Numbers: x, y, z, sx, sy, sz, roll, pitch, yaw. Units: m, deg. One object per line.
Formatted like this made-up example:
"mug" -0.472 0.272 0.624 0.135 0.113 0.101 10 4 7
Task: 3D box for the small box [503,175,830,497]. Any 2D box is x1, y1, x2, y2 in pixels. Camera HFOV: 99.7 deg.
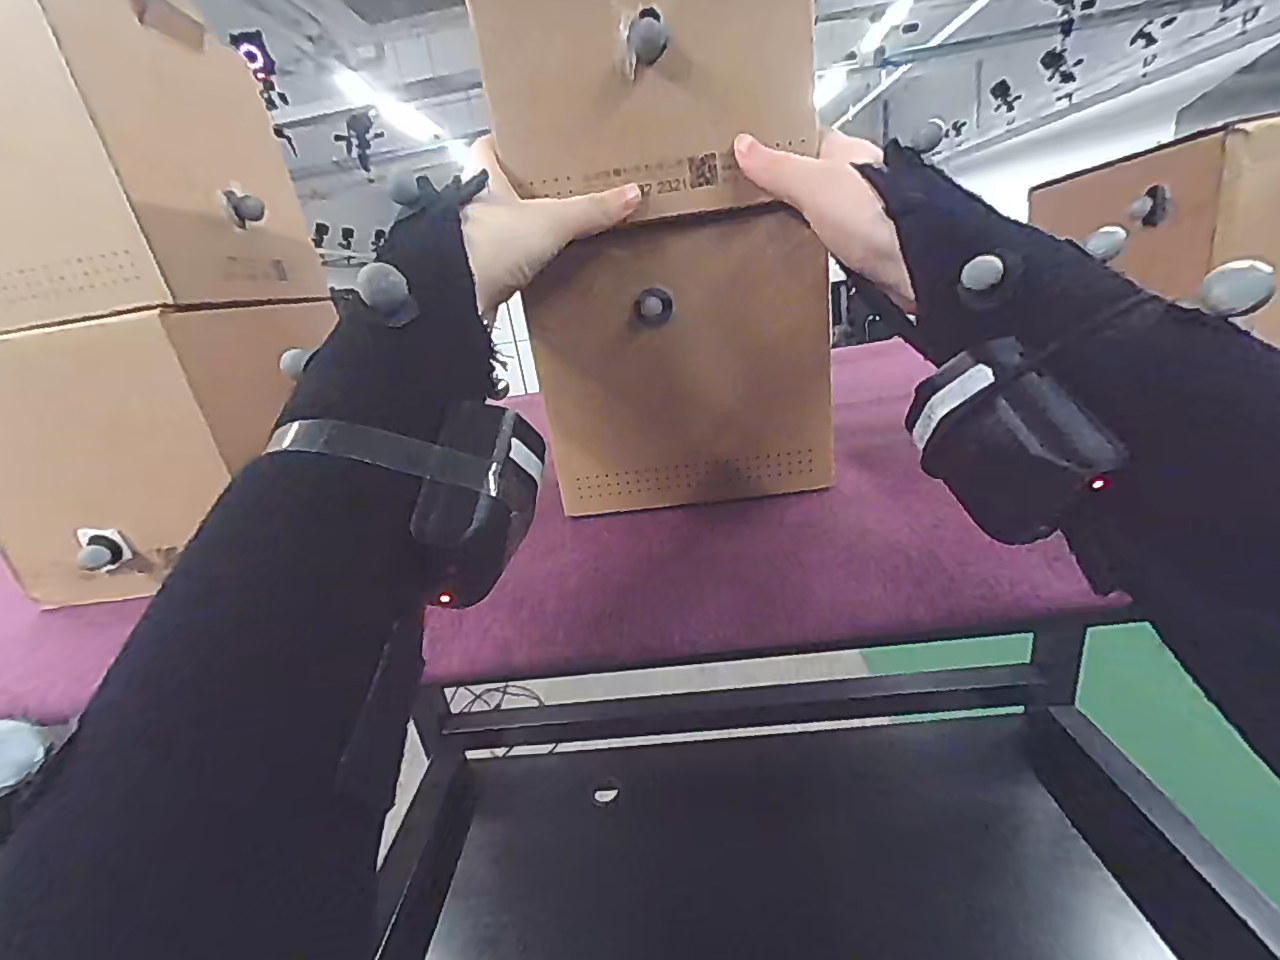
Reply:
"small box" 0.026 -0.094 0.388 0.179 0.176 0.168 -7 19 6

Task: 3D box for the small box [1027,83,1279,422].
"small box" 0.381 -0.141 0.346 0.168 0.176 0.179 -8 18 9

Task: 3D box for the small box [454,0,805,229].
"small box" -0.005 -0.245 0.330 0.168 0.176 0.179 -8 19 1

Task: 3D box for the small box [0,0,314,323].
"small box" -0.352 -0.186 0.334 0.179 0.176 0.168 -10 20 2
